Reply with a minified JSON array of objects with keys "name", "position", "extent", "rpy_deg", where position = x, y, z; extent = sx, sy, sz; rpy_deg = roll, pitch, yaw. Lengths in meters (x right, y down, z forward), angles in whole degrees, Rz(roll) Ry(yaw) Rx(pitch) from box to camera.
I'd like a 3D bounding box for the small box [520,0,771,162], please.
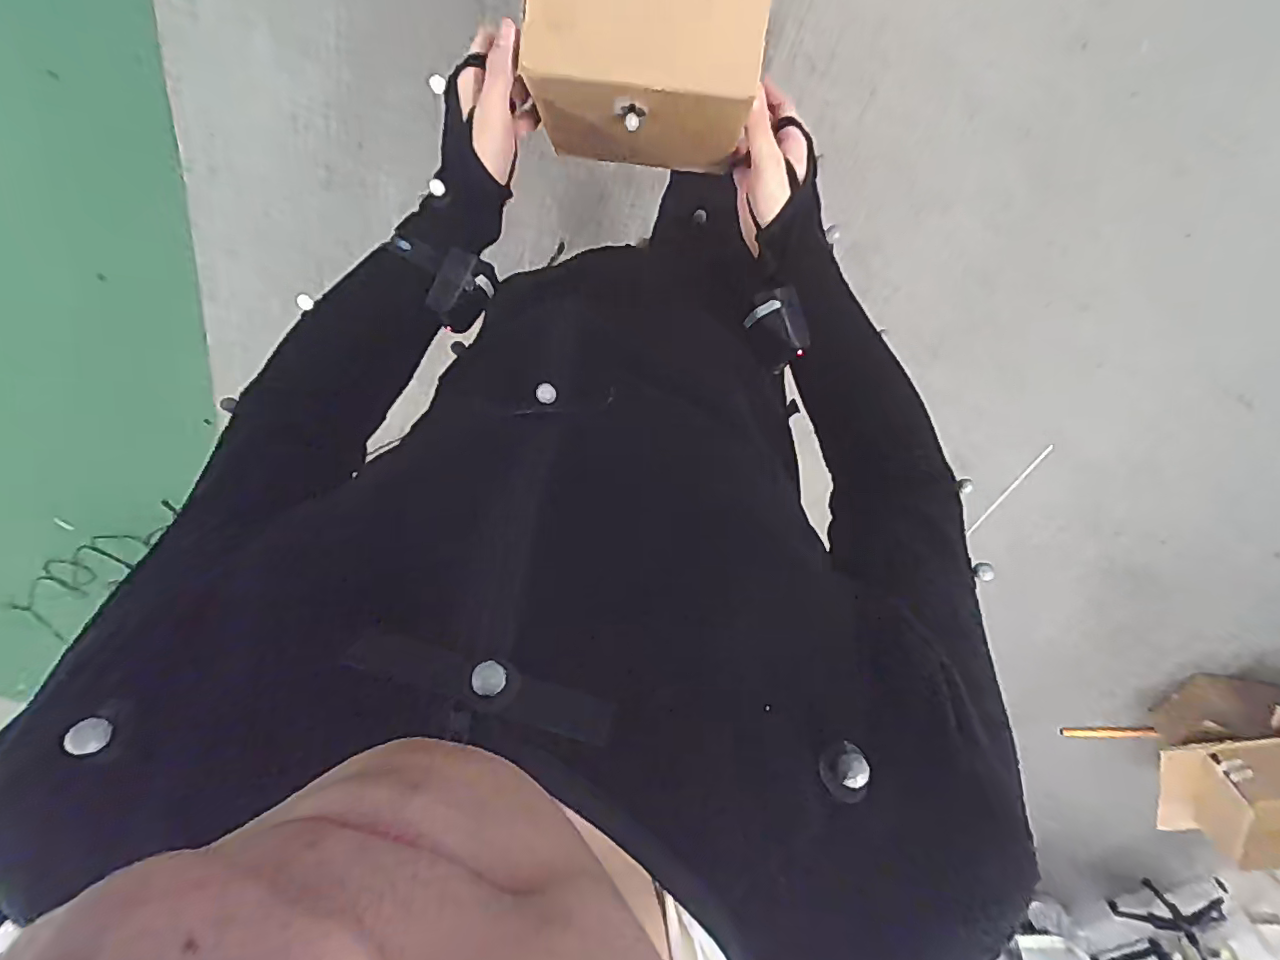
[{"name":"small box","position":[0.013,-0.386,0.448],"extent":[0.179,0.176,0.168],"rpy_deg":[7,102,1]}]
